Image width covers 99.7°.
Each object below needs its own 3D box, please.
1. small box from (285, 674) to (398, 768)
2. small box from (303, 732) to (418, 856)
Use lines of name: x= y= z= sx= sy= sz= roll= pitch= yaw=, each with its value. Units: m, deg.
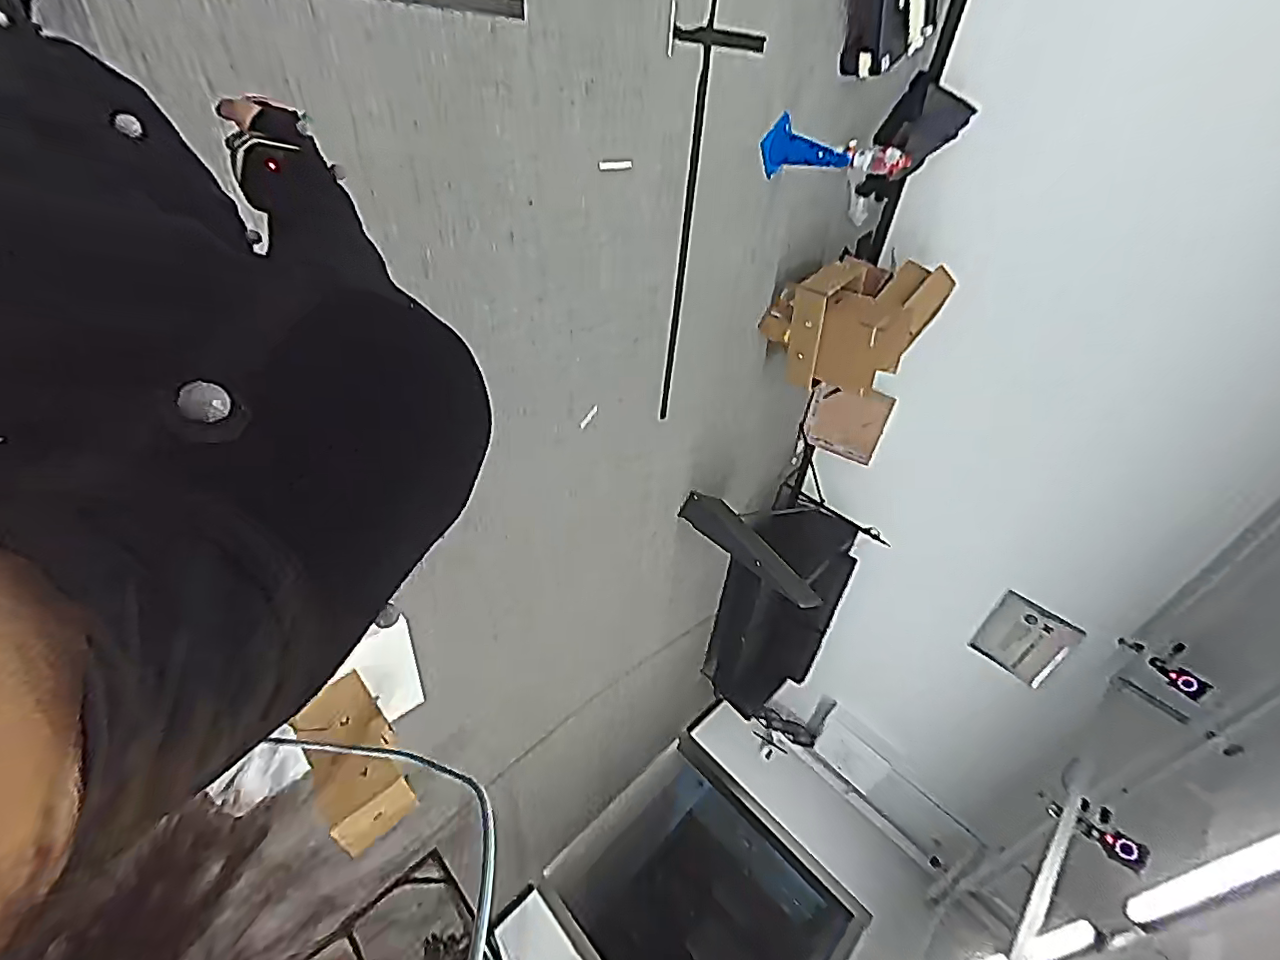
small box: x=-0.755 y=0.631 z=1.370 sx=0.179 sy=0.176 sz=0.168 roll=-32 pitch=141 yaw=-31
small box: x=-0.661 y=0.734 z=1.281 sx=0.168 sy=0.176 sz=0.179 roll=-32 pitch=142 yaw=-32
